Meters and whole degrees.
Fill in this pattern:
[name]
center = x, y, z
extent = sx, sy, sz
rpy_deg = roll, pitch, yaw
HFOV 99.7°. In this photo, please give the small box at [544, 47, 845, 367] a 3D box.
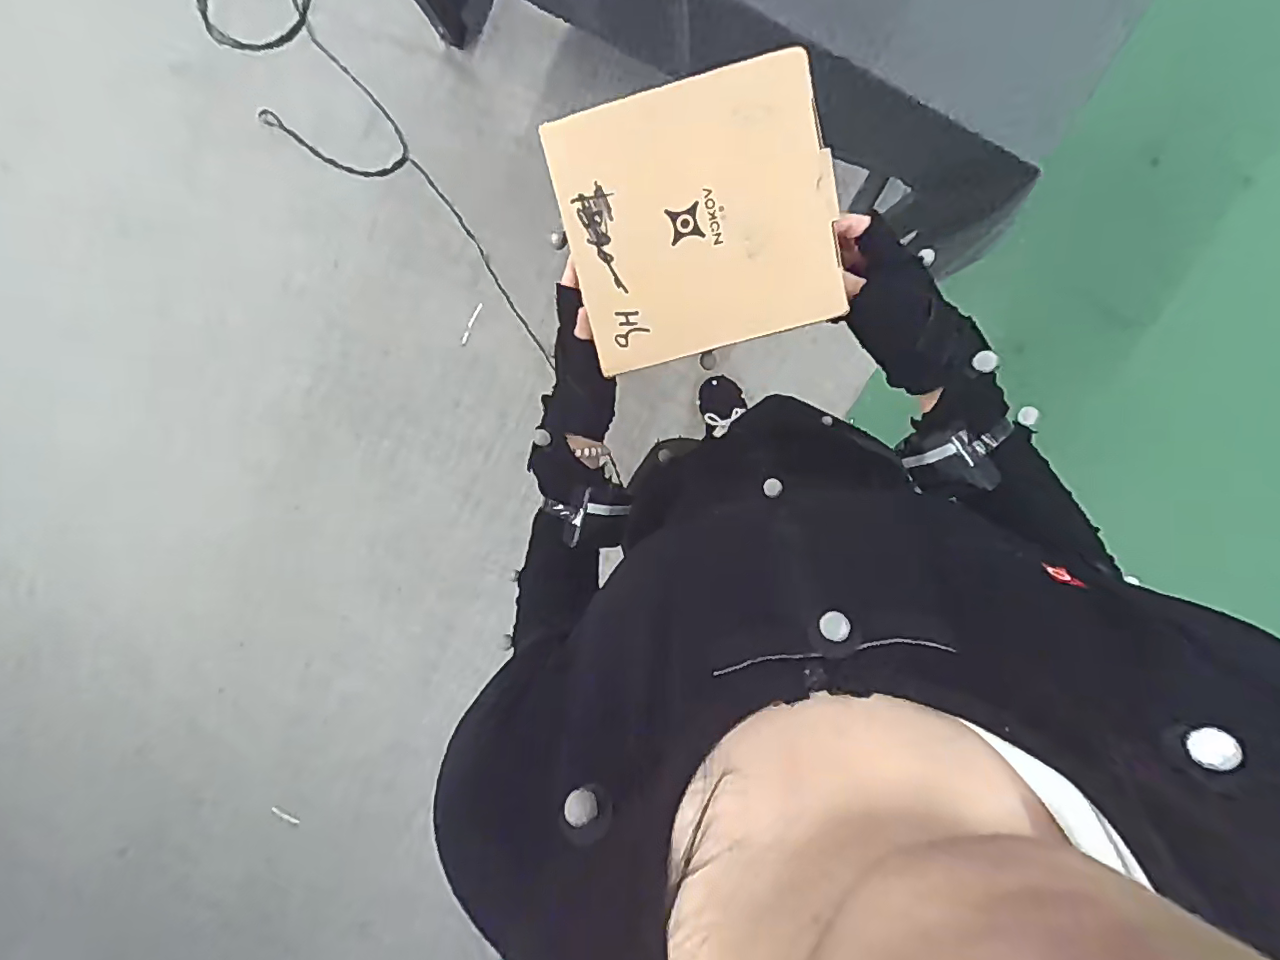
[small box]
center = 0.038, -0.192, 0.437
extent = 0.179, 0.176, 0.168
rpy_deg = -14, 100, 3
